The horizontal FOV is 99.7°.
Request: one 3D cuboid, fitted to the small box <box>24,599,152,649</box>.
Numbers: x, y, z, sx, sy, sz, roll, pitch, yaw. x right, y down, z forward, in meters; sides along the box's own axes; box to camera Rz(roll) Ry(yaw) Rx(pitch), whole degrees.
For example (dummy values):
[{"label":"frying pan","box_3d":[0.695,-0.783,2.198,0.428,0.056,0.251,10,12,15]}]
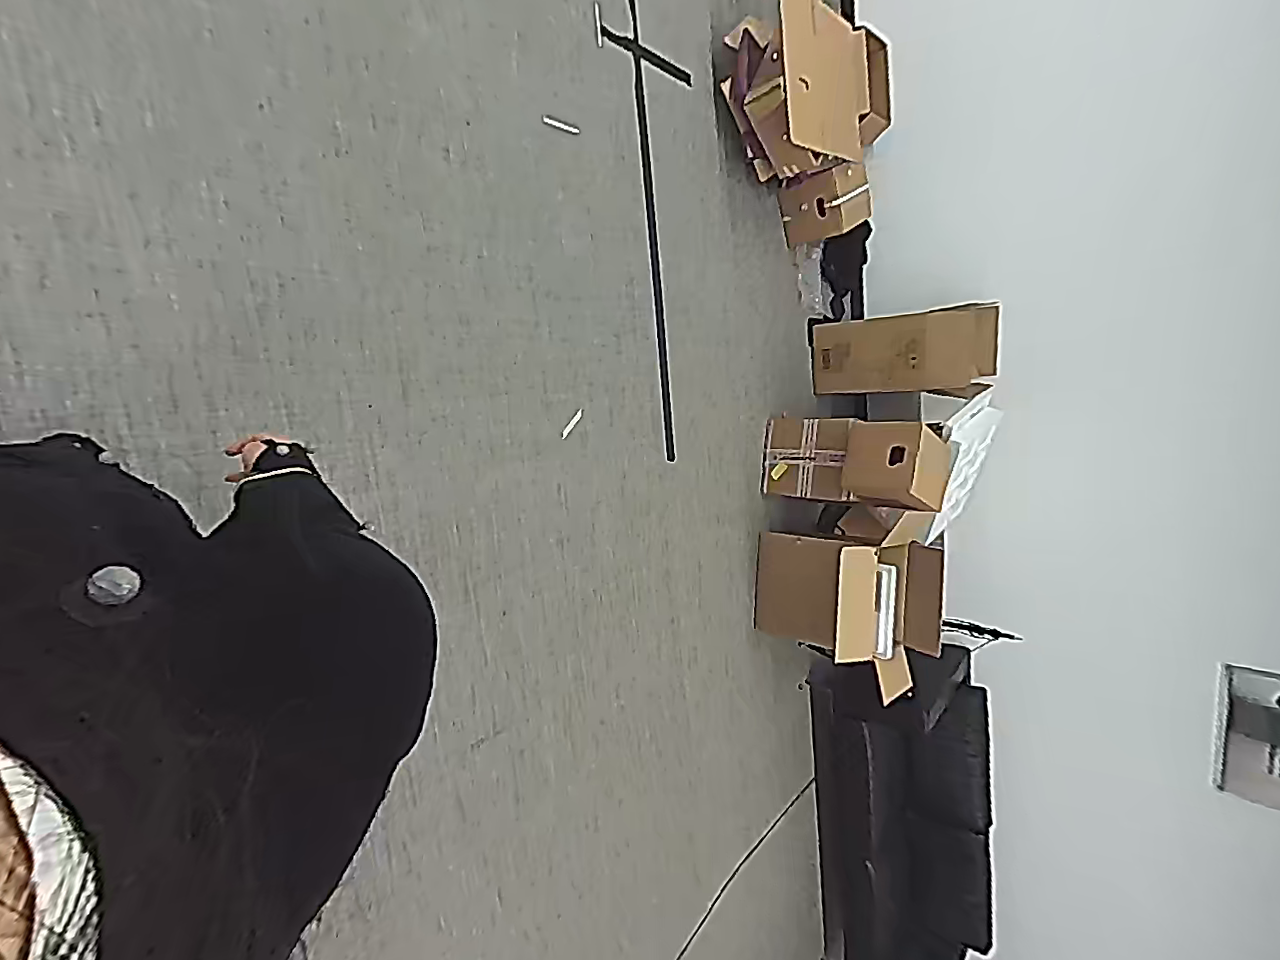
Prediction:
[{"label":"small box","box_3d":[-1.041,0.337,1.036,0.168,0.176,0.179,-13,101,-45]}]
